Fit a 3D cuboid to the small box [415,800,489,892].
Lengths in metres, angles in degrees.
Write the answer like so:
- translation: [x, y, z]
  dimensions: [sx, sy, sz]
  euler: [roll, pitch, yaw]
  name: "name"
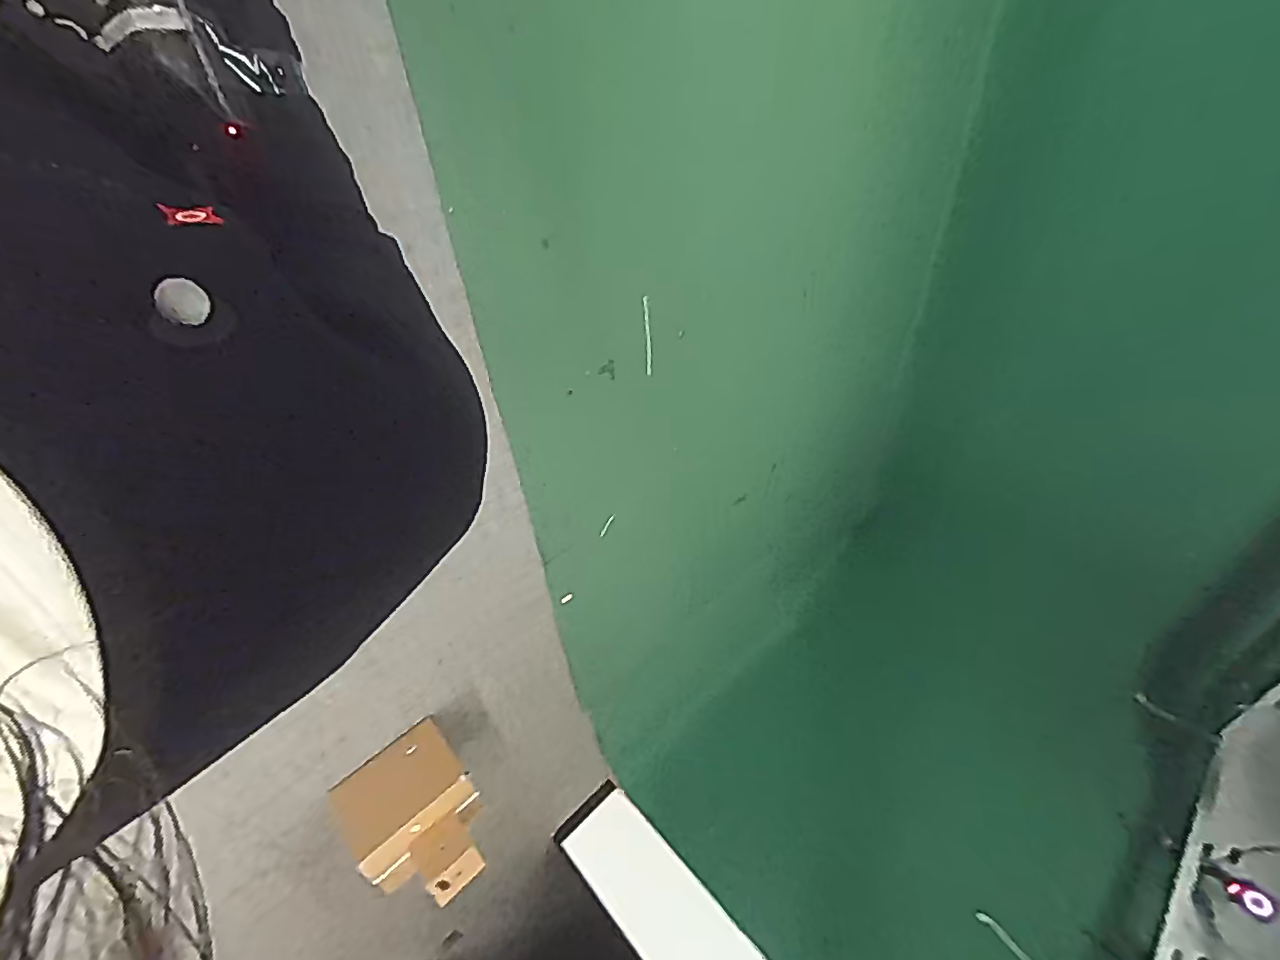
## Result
- translation: [-0.672, 1.290, 1.914]
  dimensions: [0.179, 0.176, 0.168]
  euler: [-33, 131, -28]
  name: "small box"
